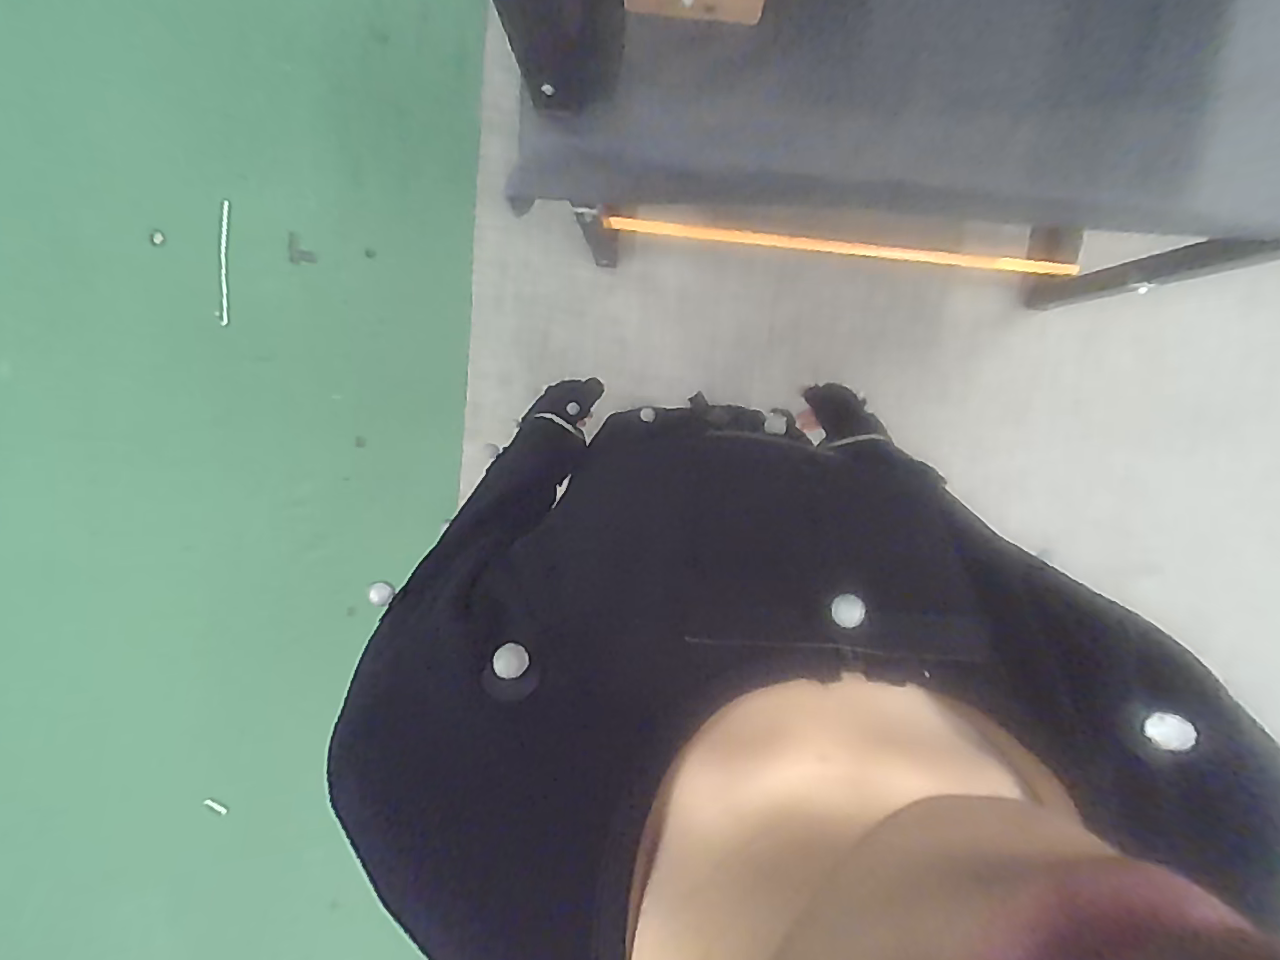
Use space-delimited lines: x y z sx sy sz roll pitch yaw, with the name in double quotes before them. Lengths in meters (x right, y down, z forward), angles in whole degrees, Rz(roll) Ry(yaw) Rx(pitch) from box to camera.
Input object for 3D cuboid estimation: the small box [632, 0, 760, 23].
"small box" 0.069 -0.642 0.570 0.168 0.176 0.179 6 99 0
